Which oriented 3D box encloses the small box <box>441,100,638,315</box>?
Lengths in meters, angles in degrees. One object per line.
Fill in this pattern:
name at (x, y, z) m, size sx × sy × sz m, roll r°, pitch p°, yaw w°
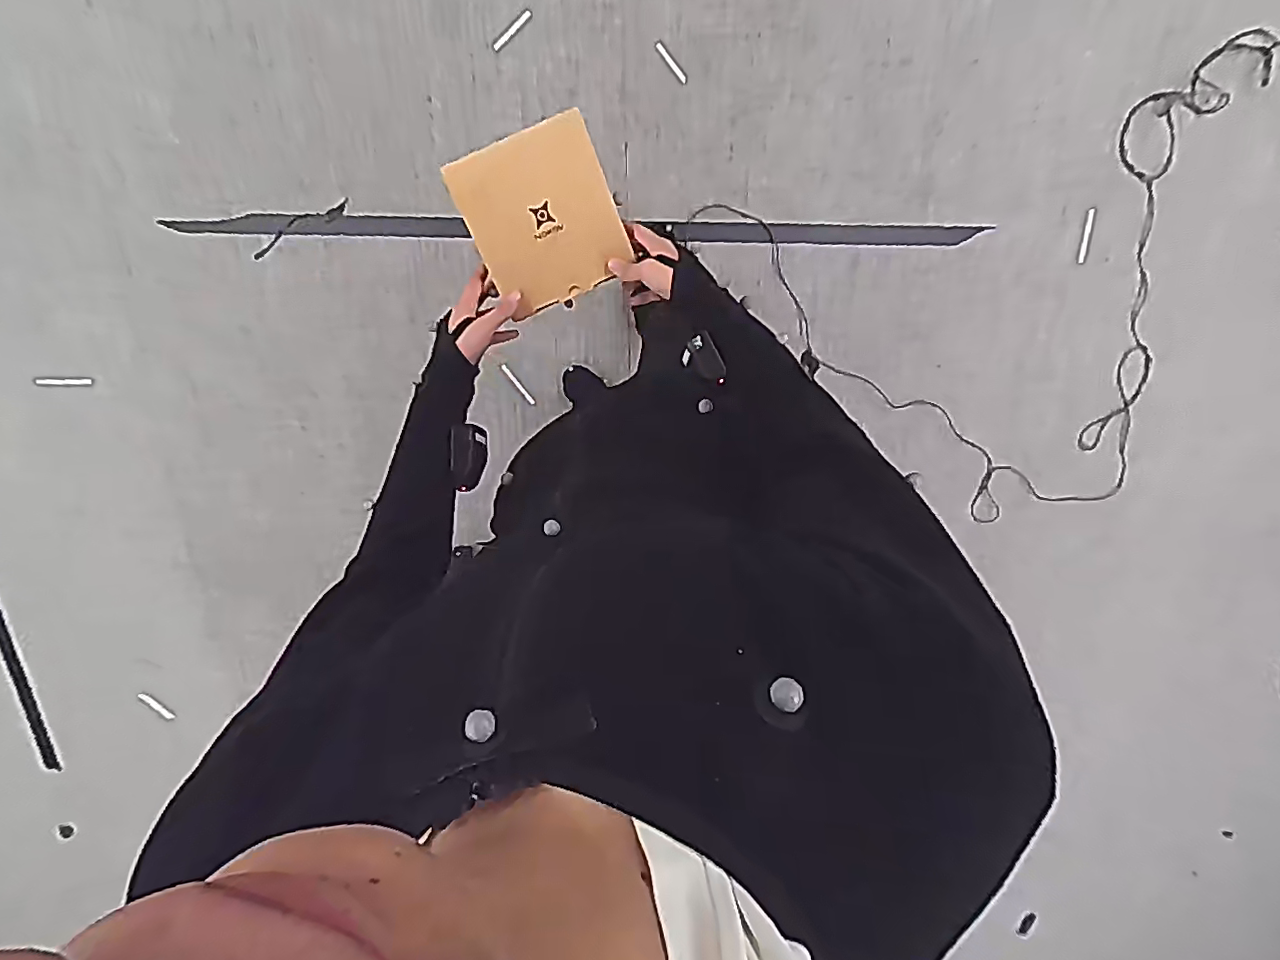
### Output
small box at (-0.118, -0.322, 0.673) m, size 0.168 × 0.176 × 0.179 m, roll -24°, pitch 111°, yaw 2°
